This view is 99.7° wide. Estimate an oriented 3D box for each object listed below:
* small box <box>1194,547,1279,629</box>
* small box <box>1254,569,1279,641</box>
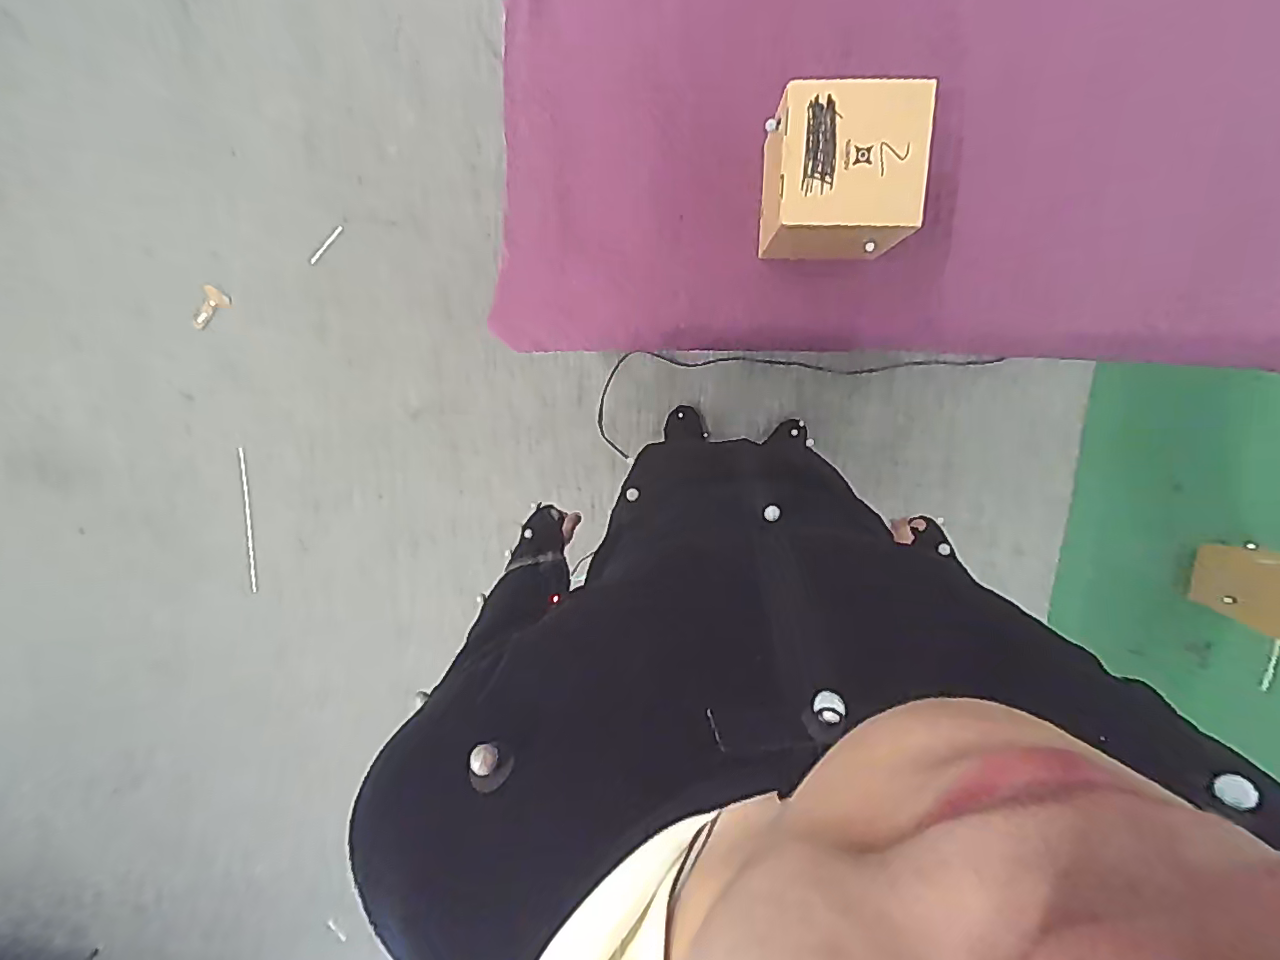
[{"bbox_3d":[1.681,0.296,1.472,0.168,0.176,0.179,4,99,4],"label":"small box"},{"bbox_3d":[1.671,0.327,1.313,0.168,0.176,0.179,1,98,4],"label":"small box"}]
